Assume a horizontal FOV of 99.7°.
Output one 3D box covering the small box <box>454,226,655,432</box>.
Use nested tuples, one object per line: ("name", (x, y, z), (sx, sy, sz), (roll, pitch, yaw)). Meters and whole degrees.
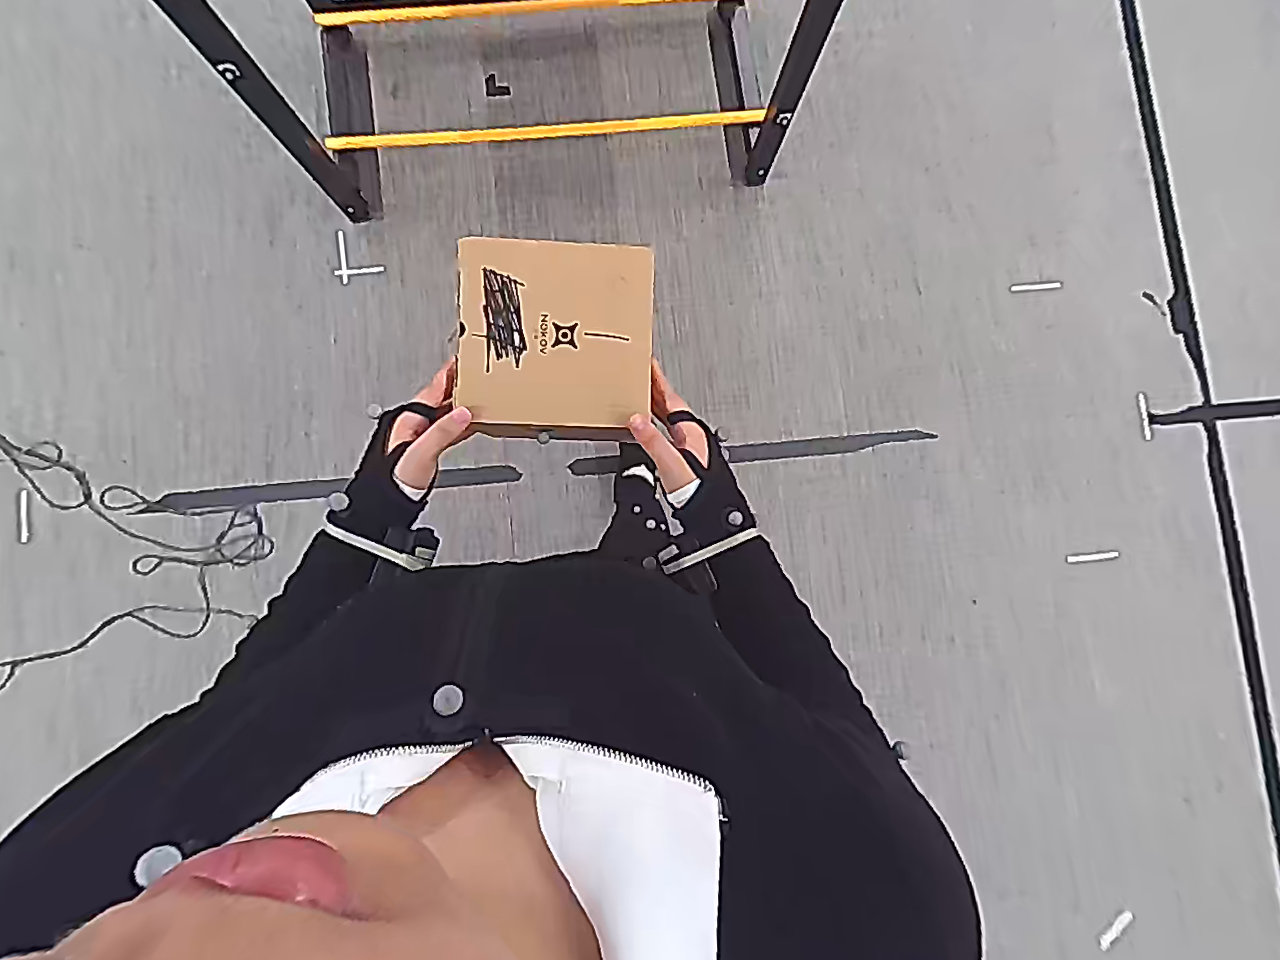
("small box", (-0.081, -0.142, 0.566), (0.179, 0.176, 0.168), (2, 89, -4))
